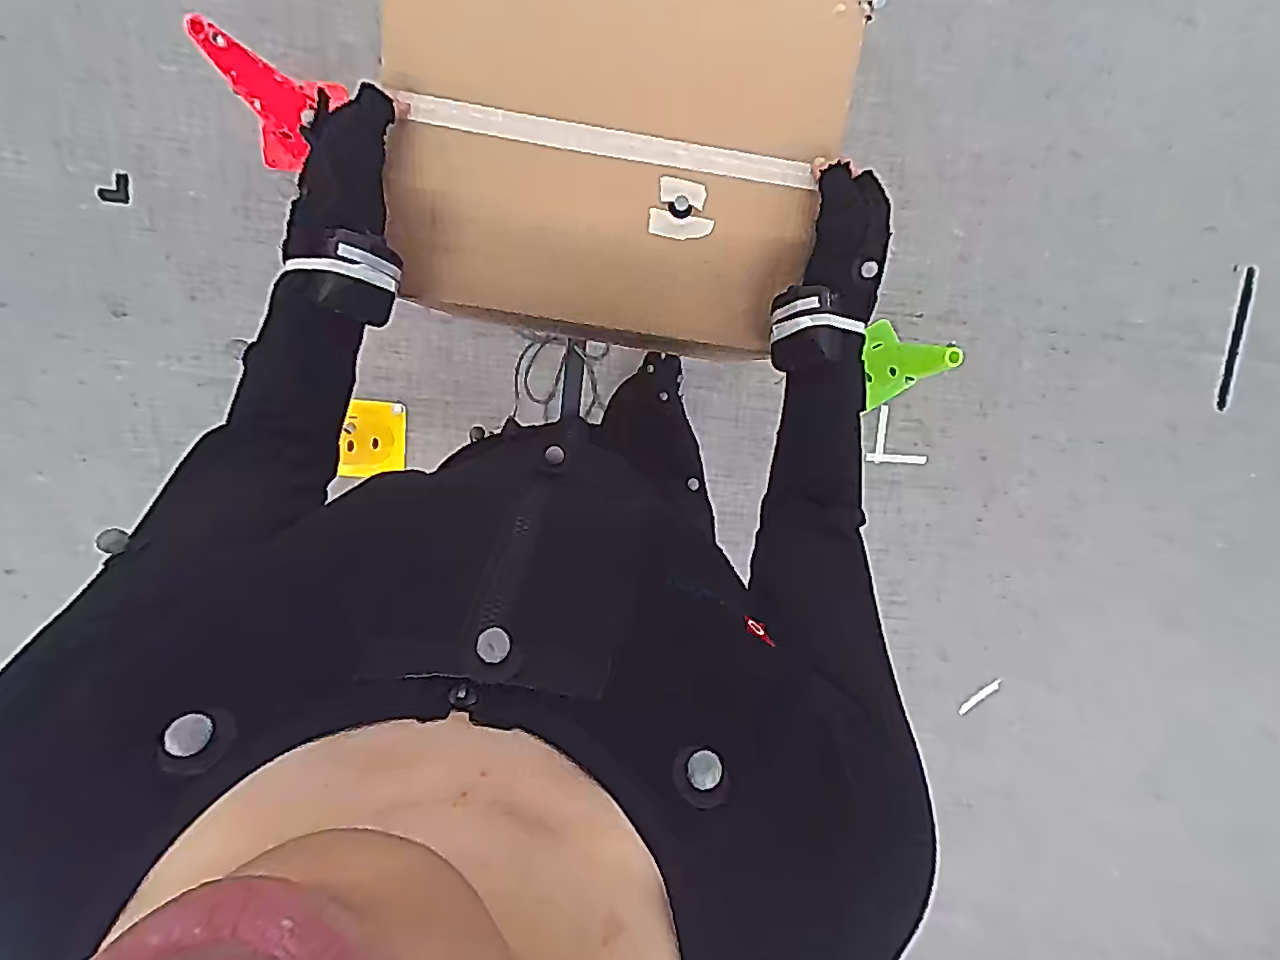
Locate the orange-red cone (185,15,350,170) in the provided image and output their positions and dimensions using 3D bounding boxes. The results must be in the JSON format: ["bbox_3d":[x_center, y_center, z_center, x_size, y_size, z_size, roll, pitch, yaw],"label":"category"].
[{"bbox_3d":[-0.785,-0.822,1.119,0.198,0.360,0.199,3,100,-3],"label":"orange-red cone"}]

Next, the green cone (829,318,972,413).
[{"bbox_3d":[0.646,-0.284,1.287,0.202,0.368,0.200,-32,100,0],"label":"green cone"}]

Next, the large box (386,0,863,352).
[{"bbox_3d":[-0.028,-0.337,0.630,0.408,0.320,0.320,8,101,-5],"label":"large box"}]
